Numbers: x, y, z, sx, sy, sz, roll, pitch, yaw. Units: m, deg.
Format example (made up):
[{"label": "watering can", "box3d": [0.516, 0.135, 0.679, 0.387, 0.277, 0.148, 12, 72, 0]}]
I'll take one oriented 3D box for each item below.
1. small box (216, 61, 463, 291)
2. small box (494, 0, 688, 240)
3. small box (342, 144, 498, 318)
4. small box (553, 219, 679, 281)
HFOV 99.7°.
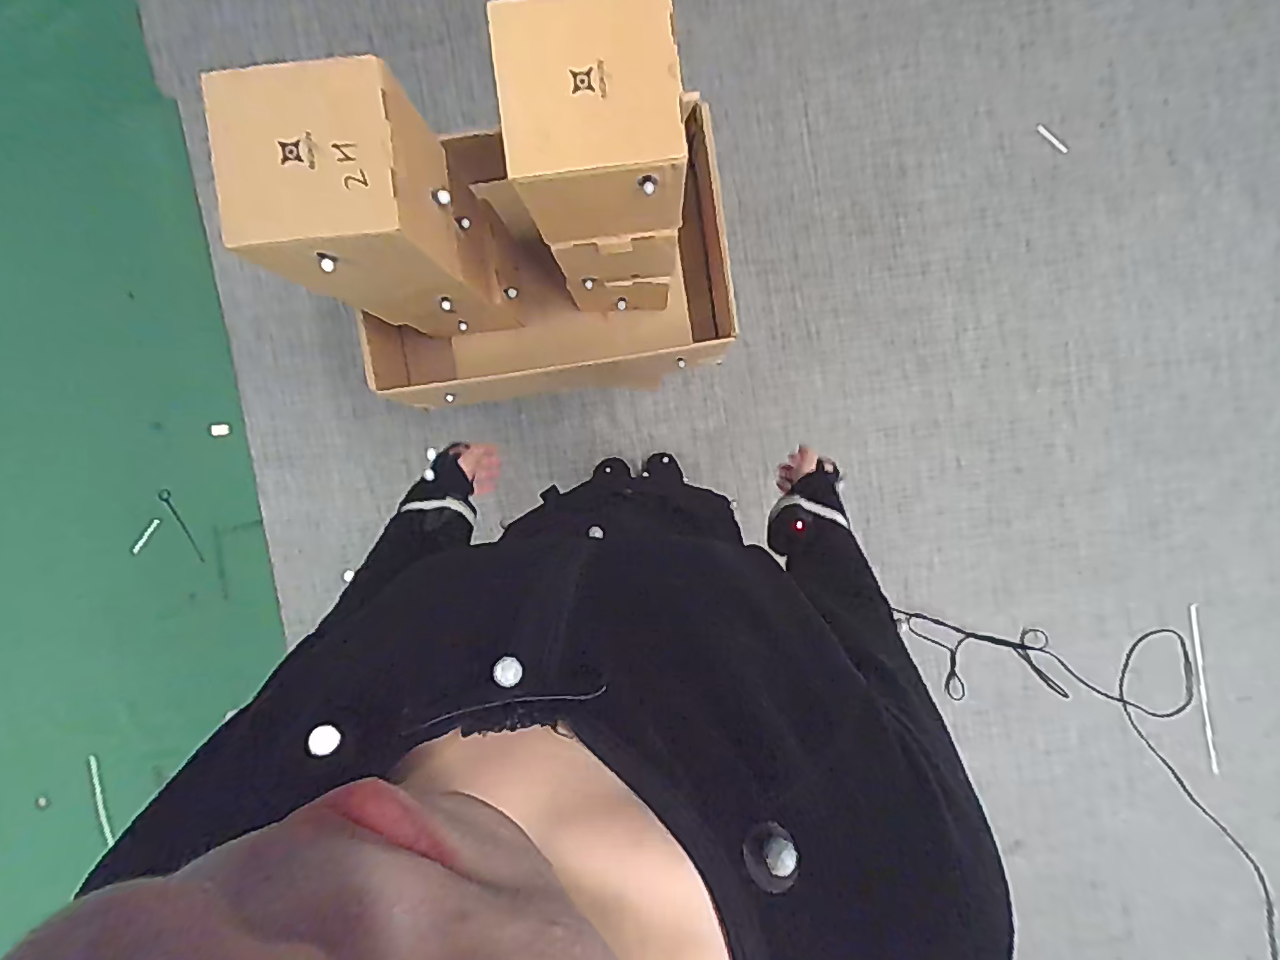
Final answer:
[{"label": "small box", "box3d": [-0.319, -0.321, 0.607, 0.179, 0.176, 0.168, -4, 94, 2]}, {"label": "small box", "box3d": [-0.043, -0.382, 0.595, 0.179, 0.176, 0.168, -6, 93, 2]}, {"label": "small box", "box3d": [-0.313, -0.339, 0.771, 0.168, 0.176, 0.179, -7, 93, 2]}, {"label": "small box", "box3d": [-0.032, -0.391, 0.757, 0.168, 0.176, 0.179, -5, 93, 3]}]
